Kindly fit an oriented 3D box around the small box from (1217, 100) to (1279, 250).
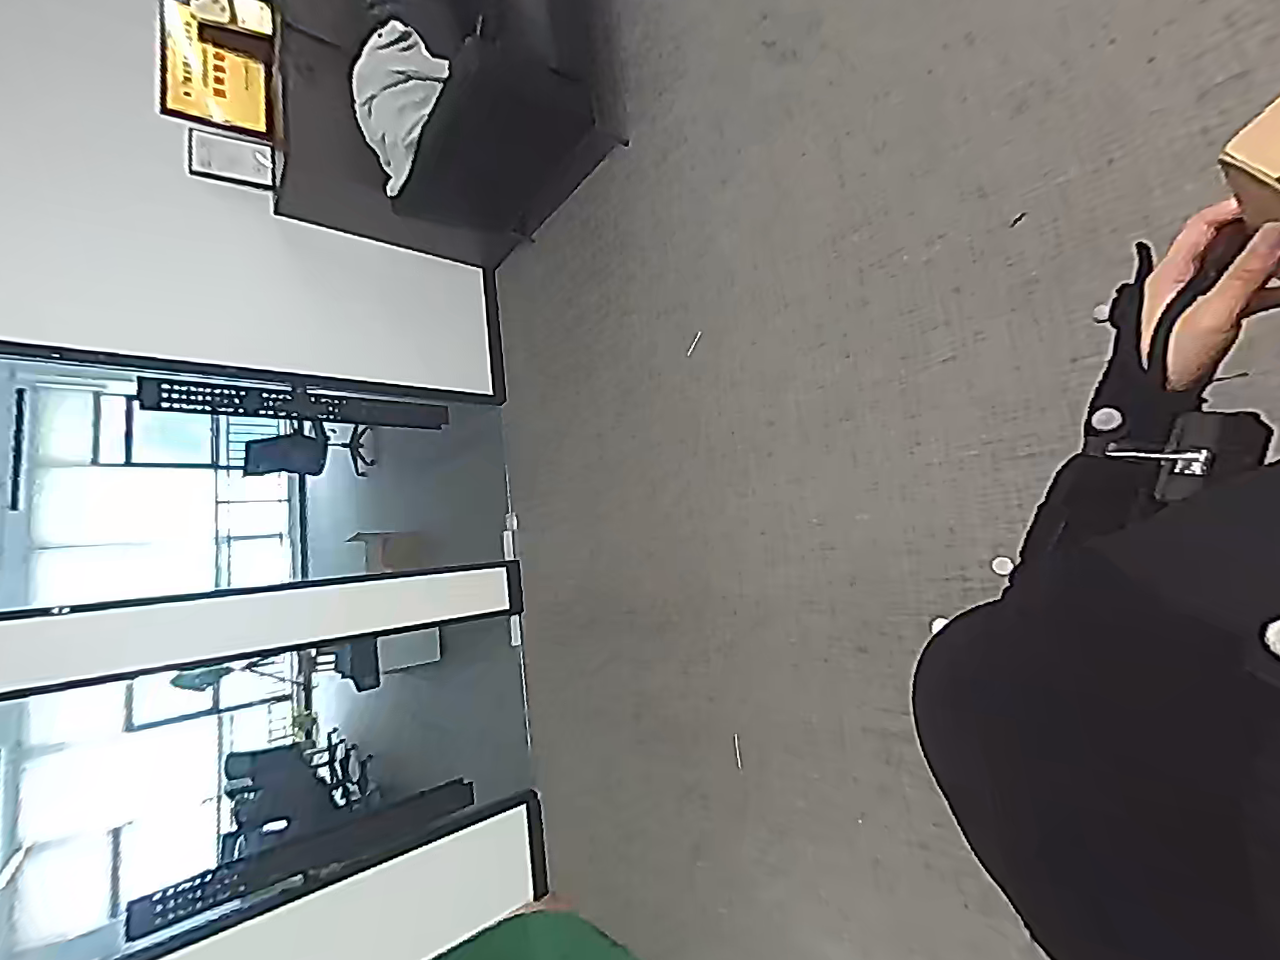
[{"bbox_3d":[0.426,-0.145,0.224,0.179,0.176,0.168,-51,44,37],"label":"small box"}]
